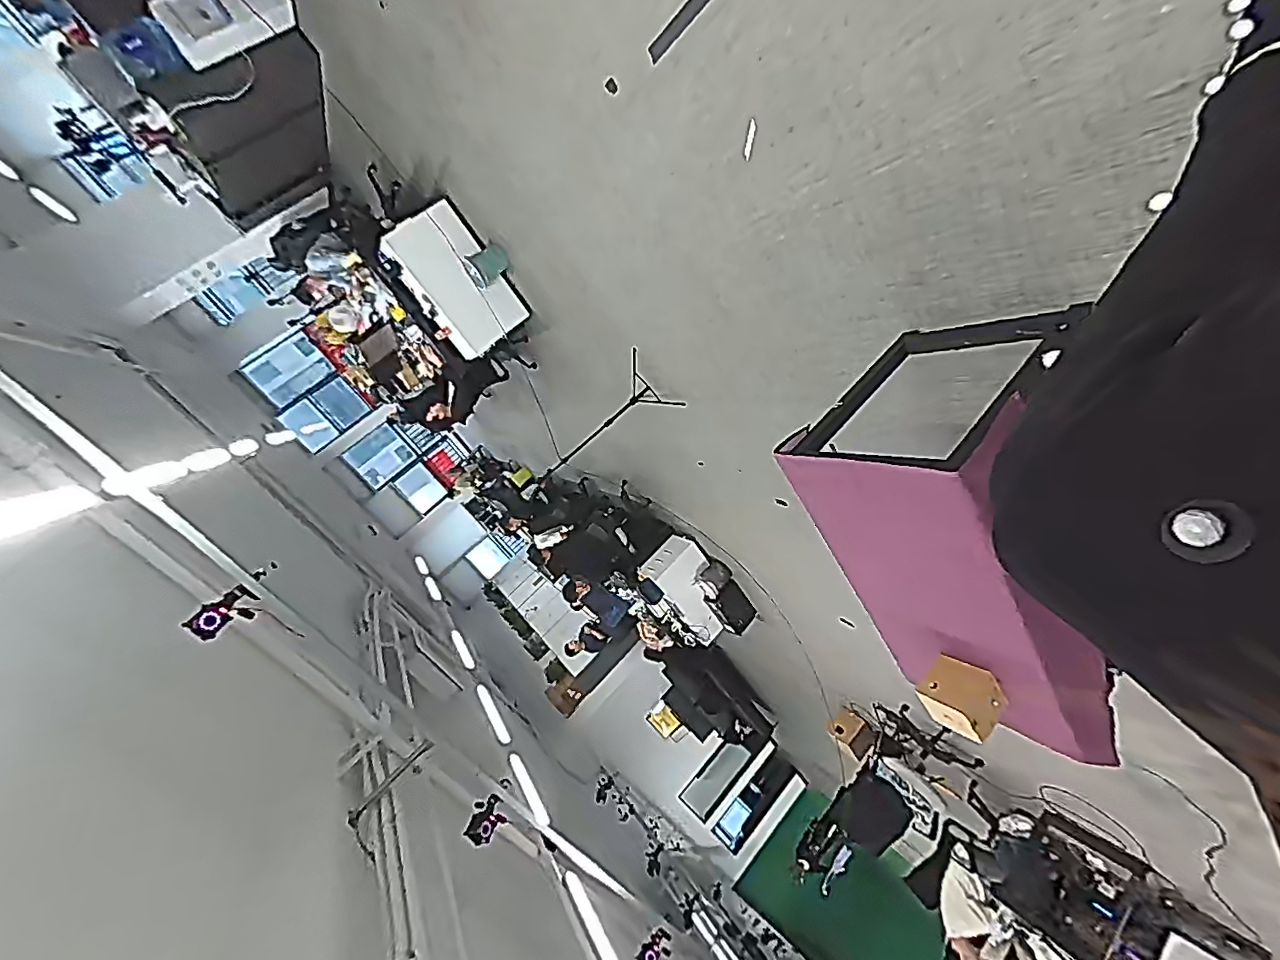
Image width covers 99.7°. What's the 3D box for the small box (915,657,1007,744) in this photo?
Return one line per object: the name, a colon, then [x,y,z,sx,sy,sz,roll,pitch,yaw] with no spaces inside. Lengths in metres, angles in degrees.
small box: [1.052,0.713,1.773,0.168,0.176,0.179,52,162,-19]
